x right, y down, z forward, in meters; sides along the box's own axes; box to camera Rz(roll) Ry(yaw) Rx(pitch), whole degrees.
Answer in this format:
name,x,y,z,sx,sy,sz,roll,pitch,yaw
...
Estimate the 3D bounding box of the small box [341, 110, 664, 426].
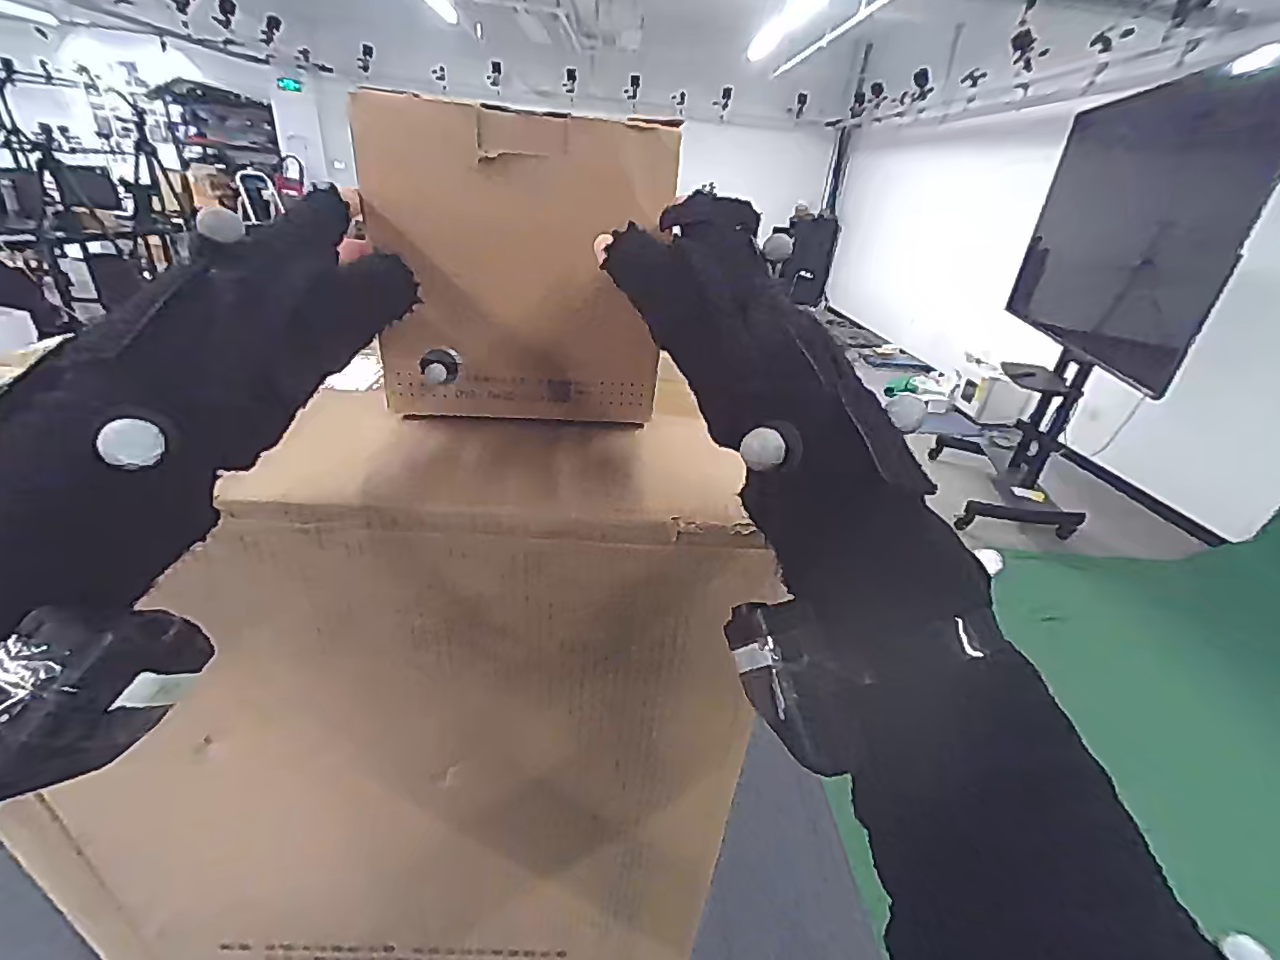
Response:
name,x,y,z,sx,sy,sz,roll,pitch,yaw
small box,-0.080,-0.143,0.382,0.168,0.176,0.179,0,26,-8
